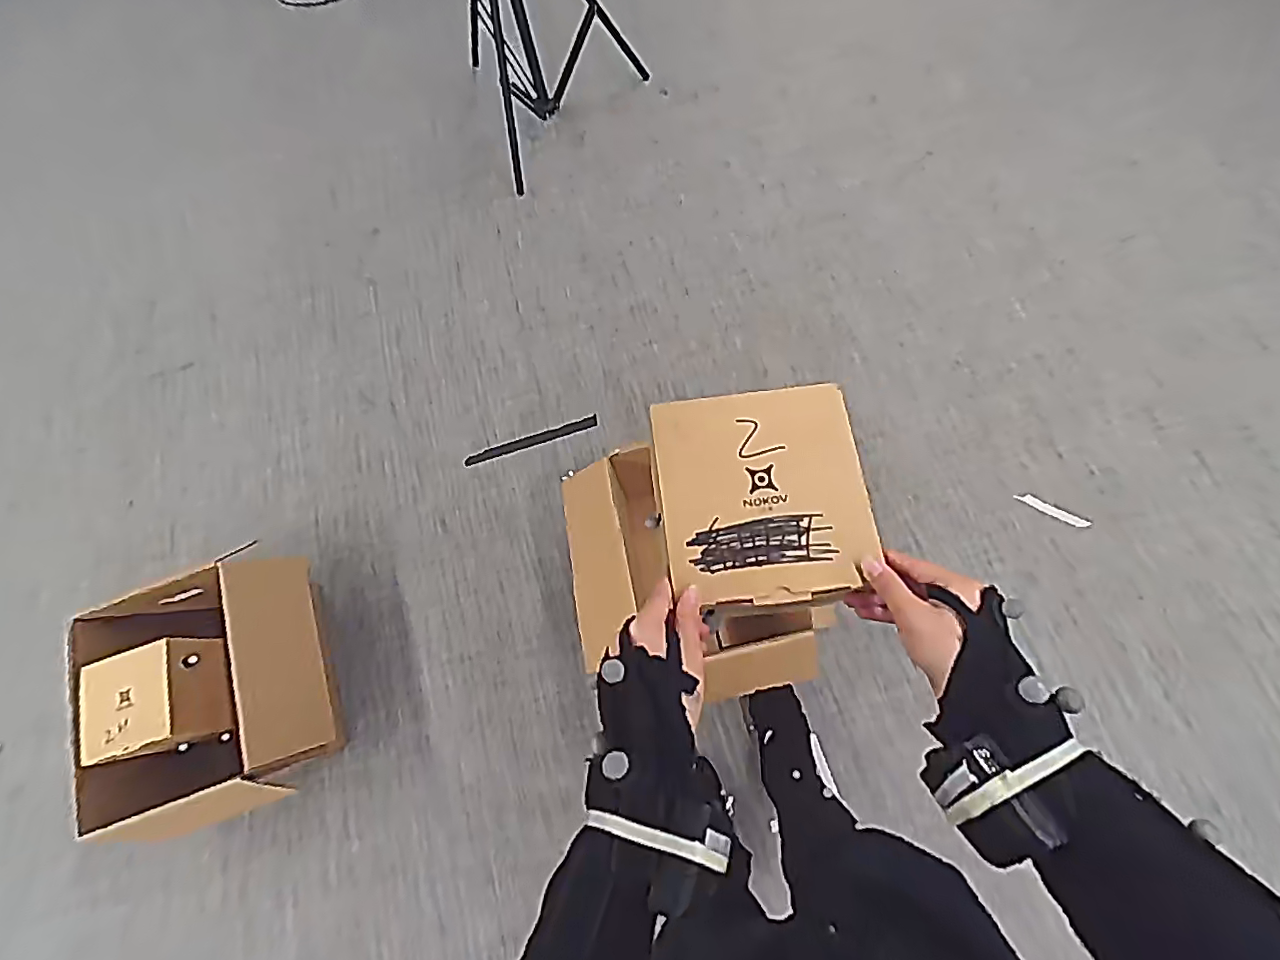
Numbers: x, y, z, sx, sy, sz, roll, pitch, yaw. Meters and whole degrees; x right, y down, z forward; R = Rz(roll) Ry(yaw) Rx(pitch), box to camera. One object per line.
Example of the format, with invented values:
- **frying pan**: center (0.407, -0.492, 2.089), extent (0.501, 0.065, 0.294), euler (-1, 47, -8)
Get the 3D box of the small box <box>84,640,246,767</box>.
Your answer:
- **small box**: center (-0.903, 0.421, 1.040), extent (0.168, 0.176, 0.179), euler (-20, 72, 0)
